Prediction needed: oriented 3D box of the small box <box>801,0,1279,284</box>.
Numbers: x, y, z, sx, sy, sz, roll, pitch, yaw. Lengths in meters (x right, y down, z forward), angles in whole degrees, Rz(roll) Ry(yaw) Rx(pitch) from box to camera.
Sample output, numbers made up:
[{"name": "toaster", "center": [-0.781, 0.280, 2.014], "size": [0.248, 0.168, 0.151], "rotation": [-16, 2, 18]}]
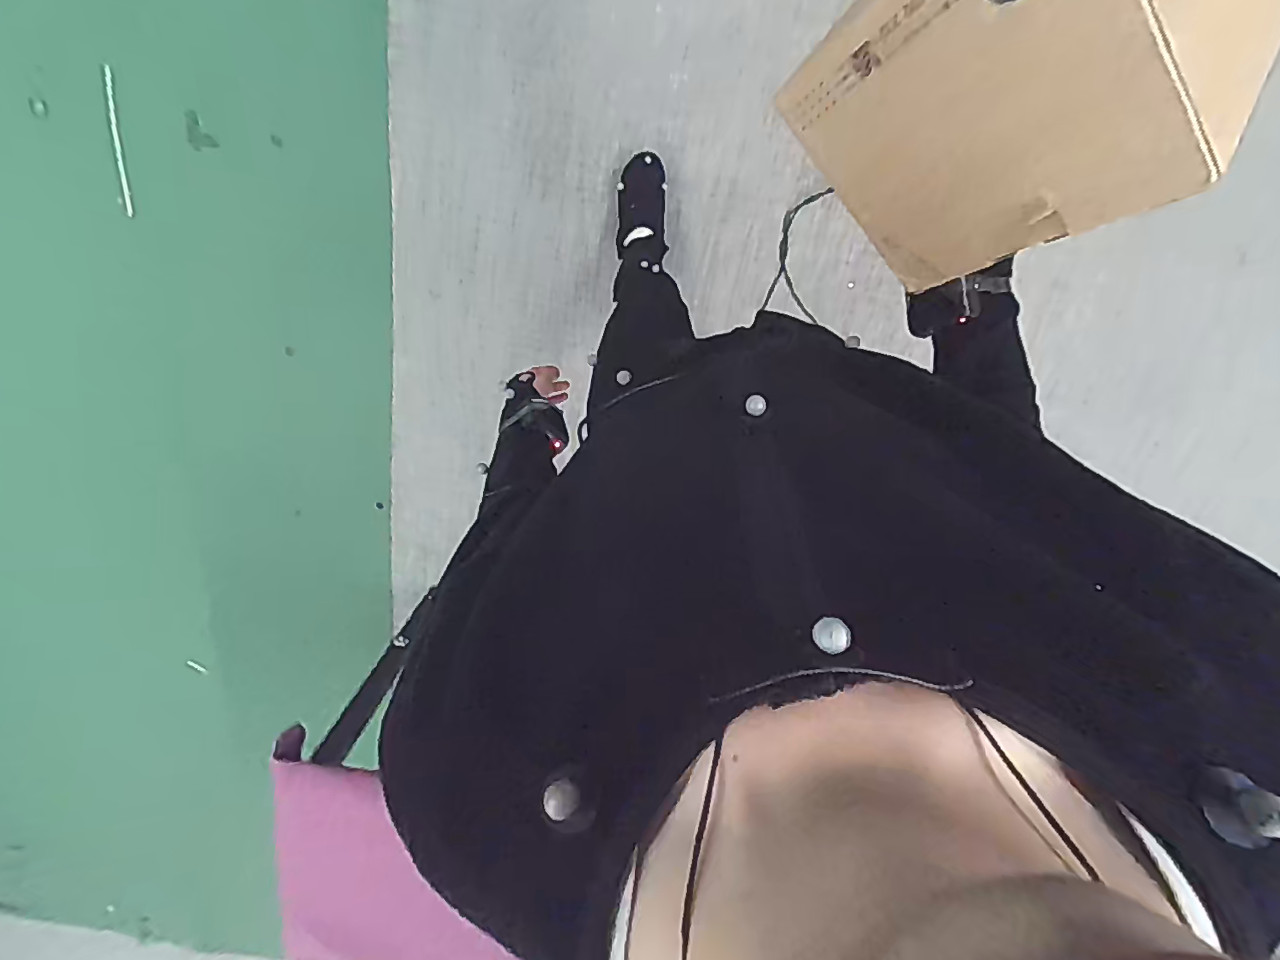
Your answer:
[{"name": "small box", "center": [0.229, -0.257, 0.312], "size": [0.176, 0.168, 0.179], "rotation": [43, 73, -20]}]
